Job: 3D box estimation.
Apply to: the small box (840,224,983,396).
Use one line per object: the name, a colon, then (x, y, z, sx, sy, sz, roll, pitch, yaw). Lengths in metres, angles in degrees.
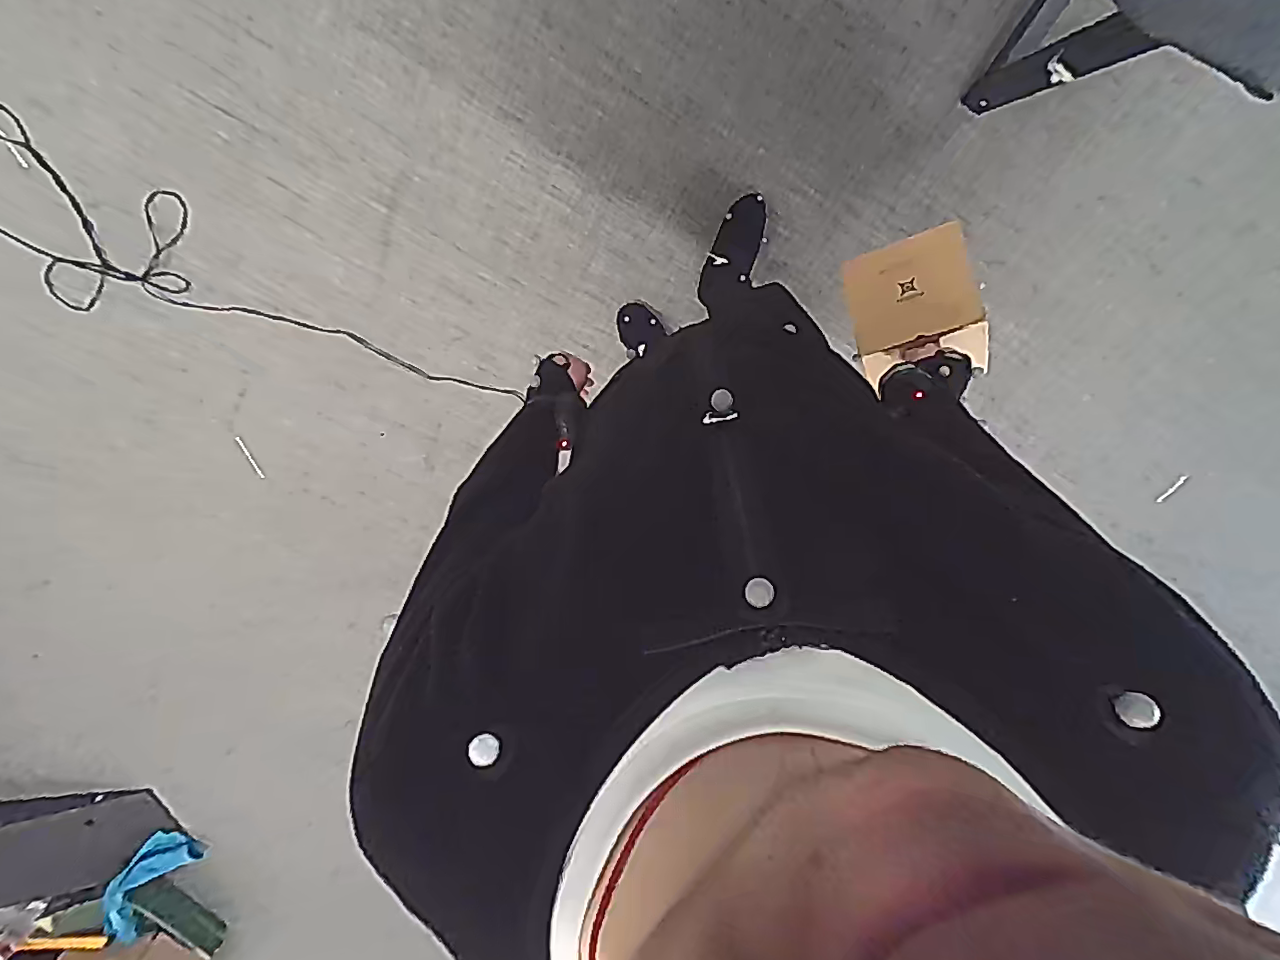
small box: (0.426, -0.249, 0.847, 0.168, 0.179, 0.176, -13, 156, 27)
